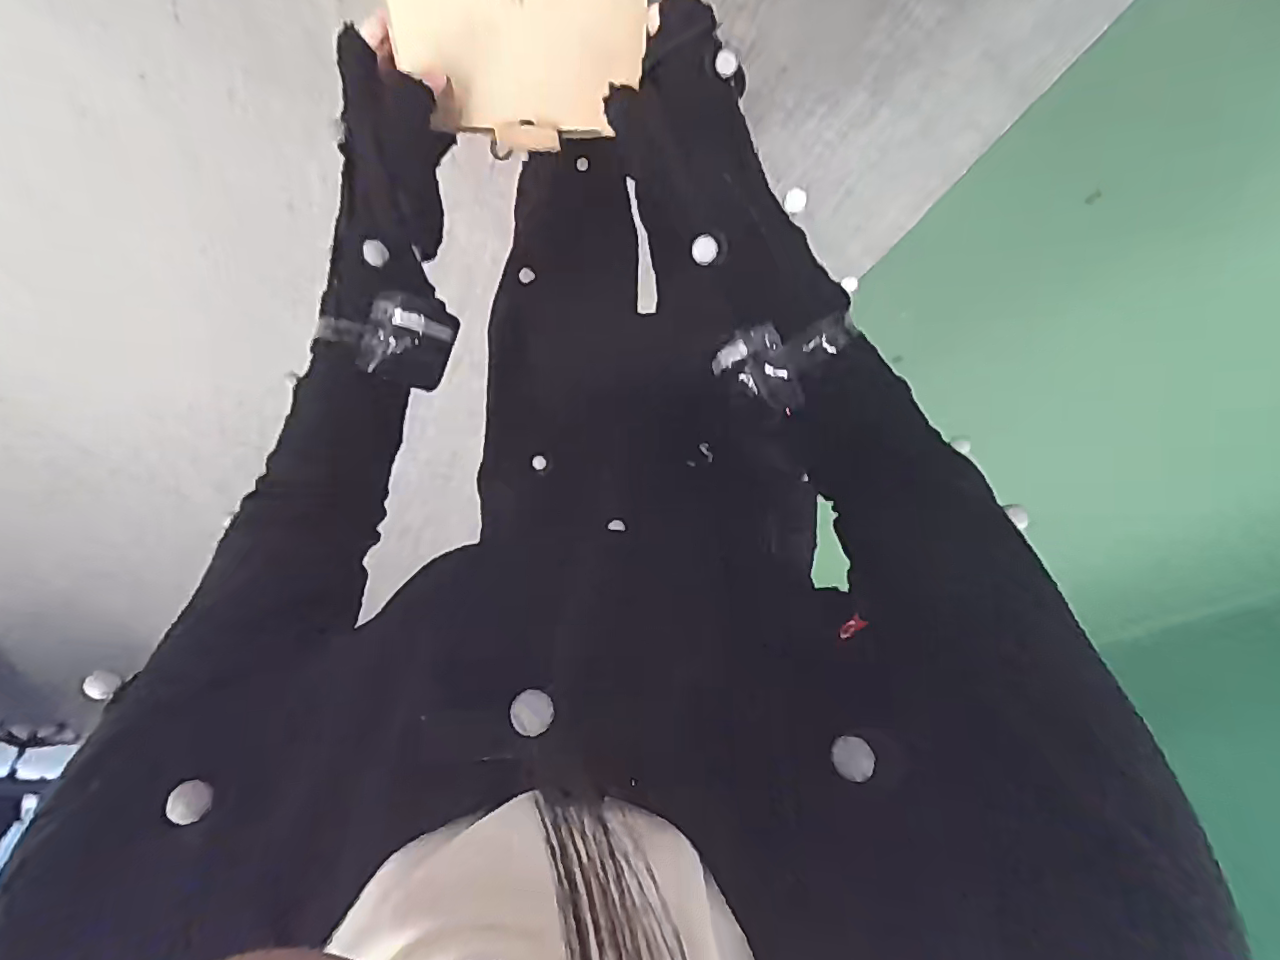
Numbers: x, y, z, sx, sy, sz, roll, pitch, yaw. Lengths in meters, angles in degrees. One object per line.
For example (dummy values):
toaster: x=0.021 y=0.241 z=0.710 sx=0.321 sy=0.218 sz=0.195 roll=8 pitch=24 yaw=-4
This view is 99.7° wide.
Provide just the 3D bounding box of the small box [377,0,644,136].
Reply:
small box: x=-0.083 y=-0.367 z=0.390 sx=0.168 sy=0.176 sz=0.179 roll=-1 pitch=130 yaw=2
